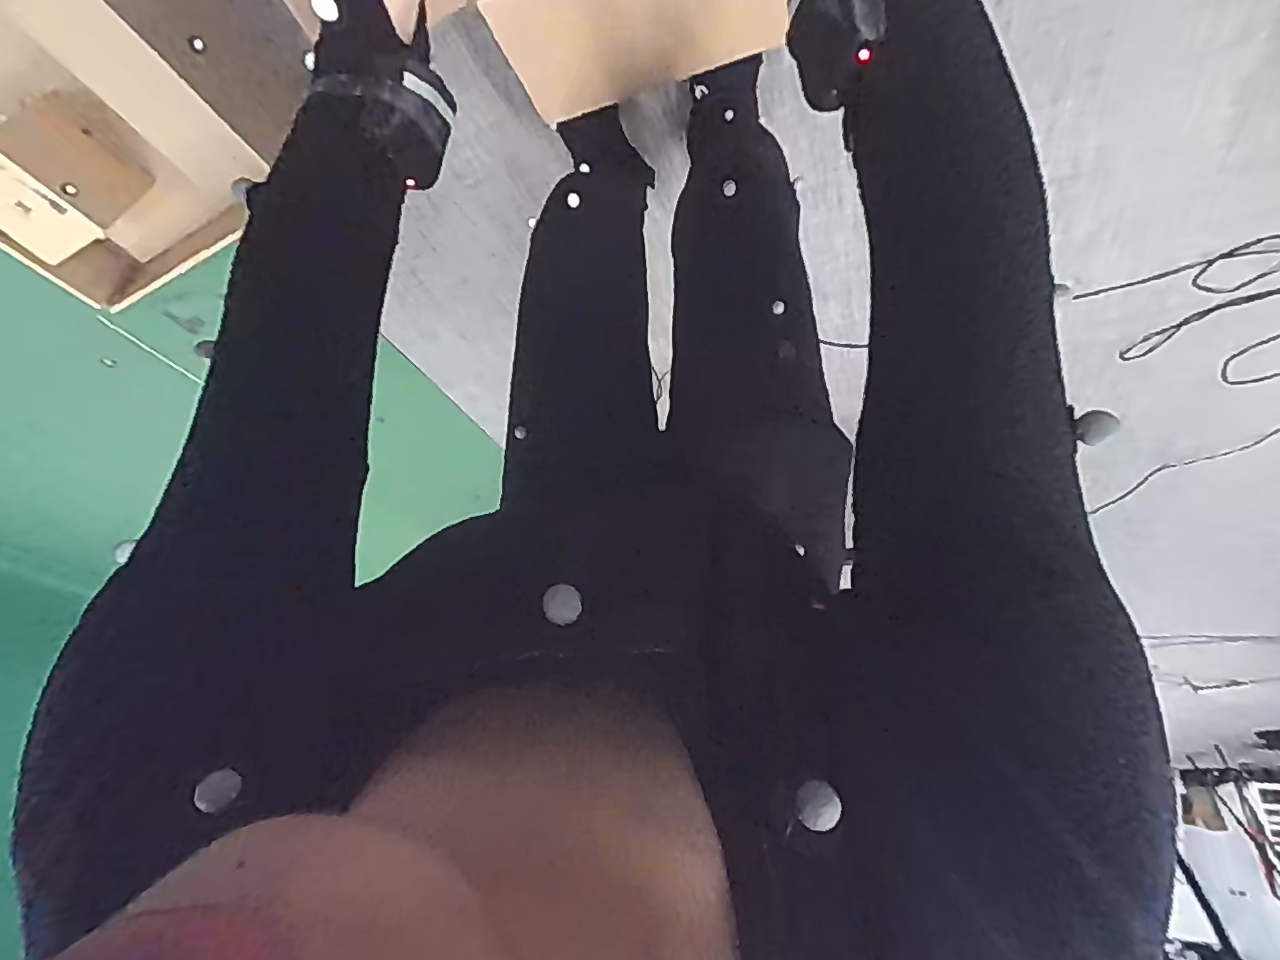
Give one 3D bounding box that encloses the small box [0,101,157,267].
[{"bbox_3d":[-1.014,-0.514,0.947,0.179,0.176,0.168,-12,142,22],"label":"small box"}]
